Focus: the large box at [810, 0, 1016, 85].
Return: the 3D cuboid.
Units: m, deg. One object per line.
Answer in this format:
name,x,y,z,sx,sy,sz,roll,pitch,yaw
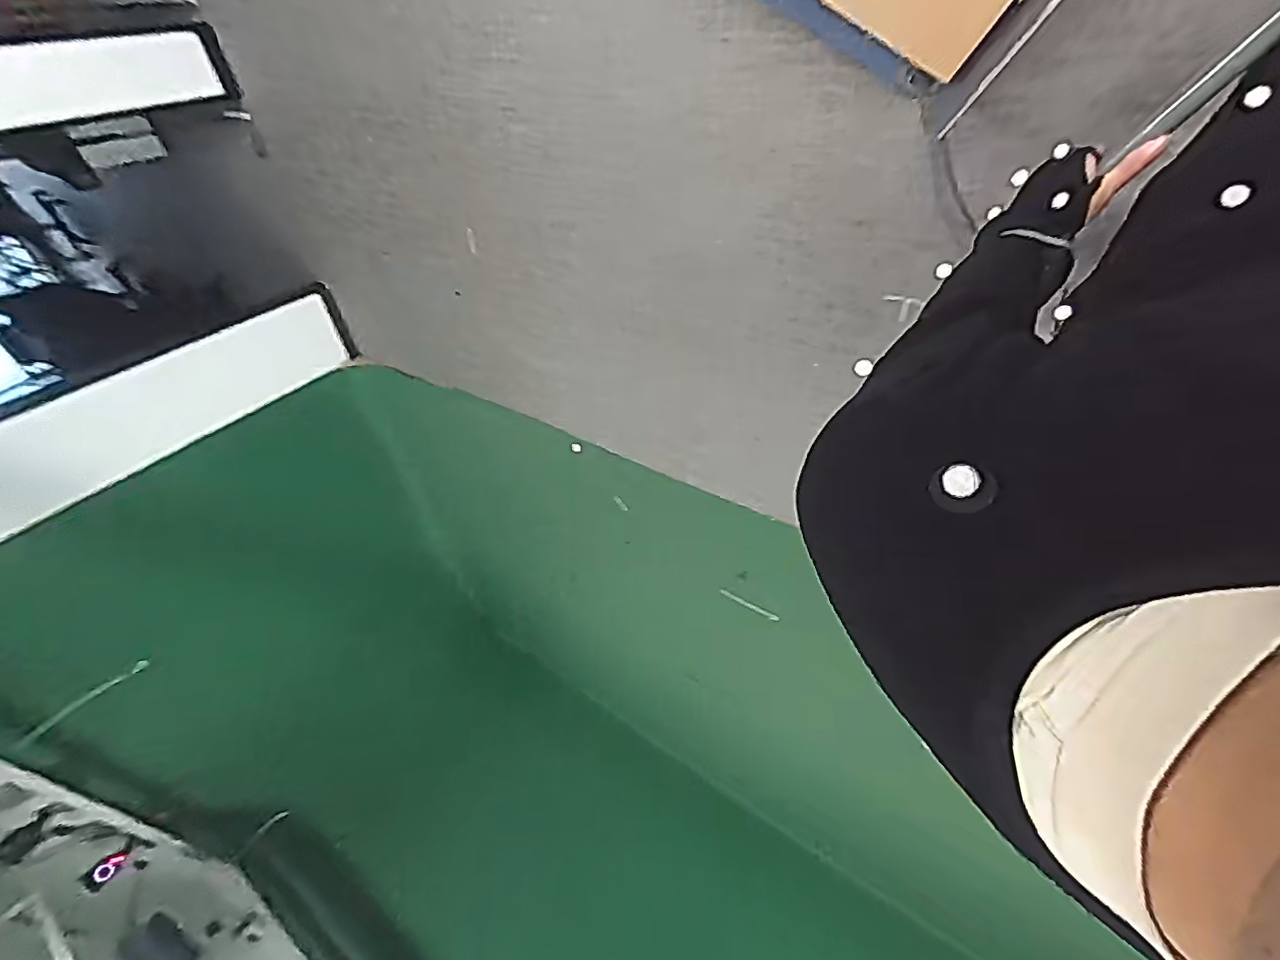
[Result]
large box,0.407,-0.889,0.788,0.408,0.320,0.320,26,144,-8
